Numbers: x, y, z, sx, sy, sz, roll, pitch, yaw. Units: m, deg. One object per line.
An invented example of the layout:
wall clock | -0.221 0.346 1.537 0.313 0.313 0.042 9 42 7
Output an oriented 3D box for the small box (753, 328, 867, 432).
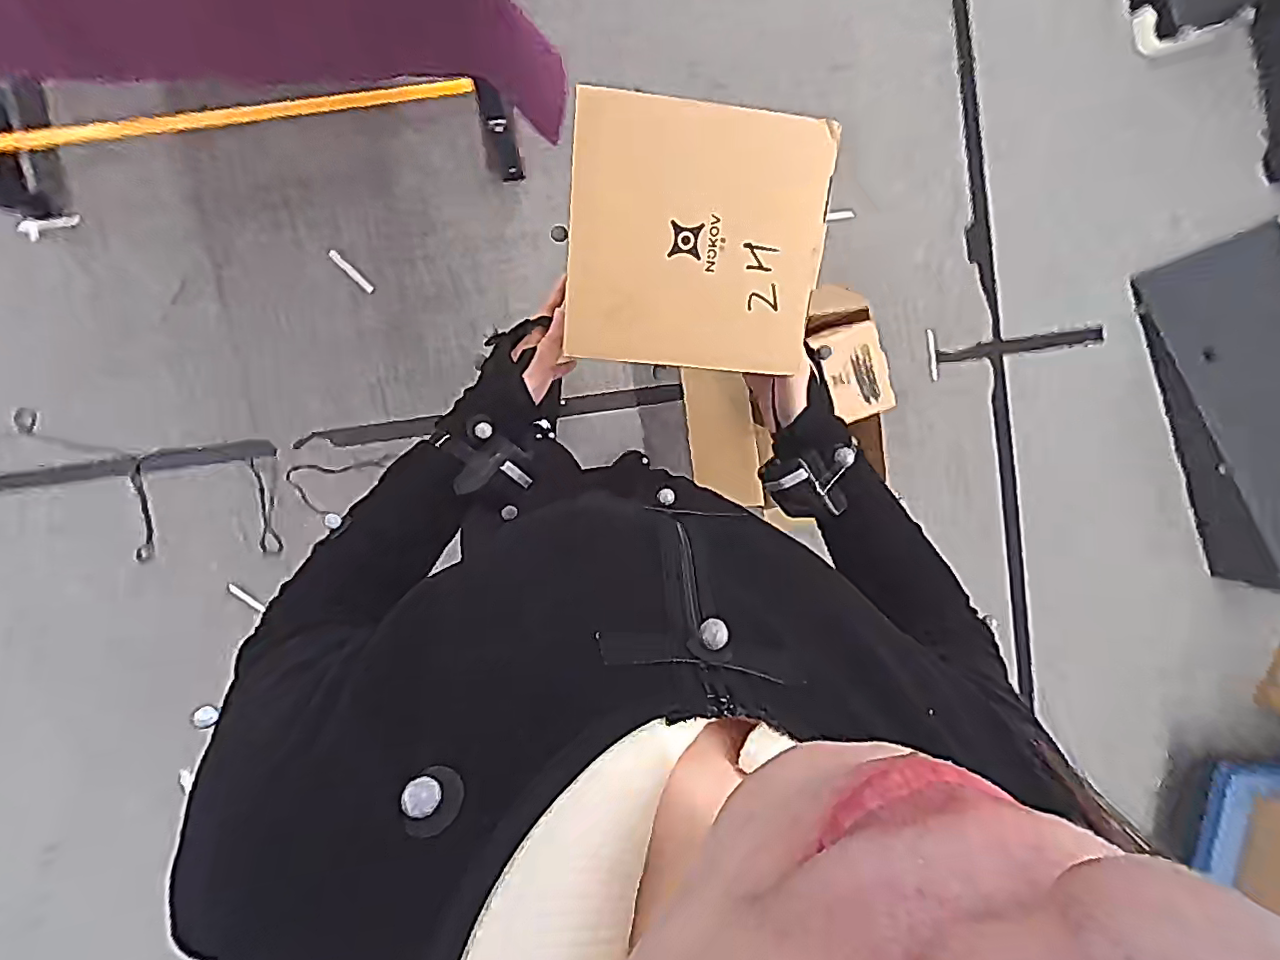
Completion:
small box | 0.383 -0.227 1.250 0.168 0.176 0.179 -29 101 2

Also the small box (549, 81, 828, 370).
small box | 0.022 -0.187 0.438 0.179 0.176 0.168 3 108 -7
